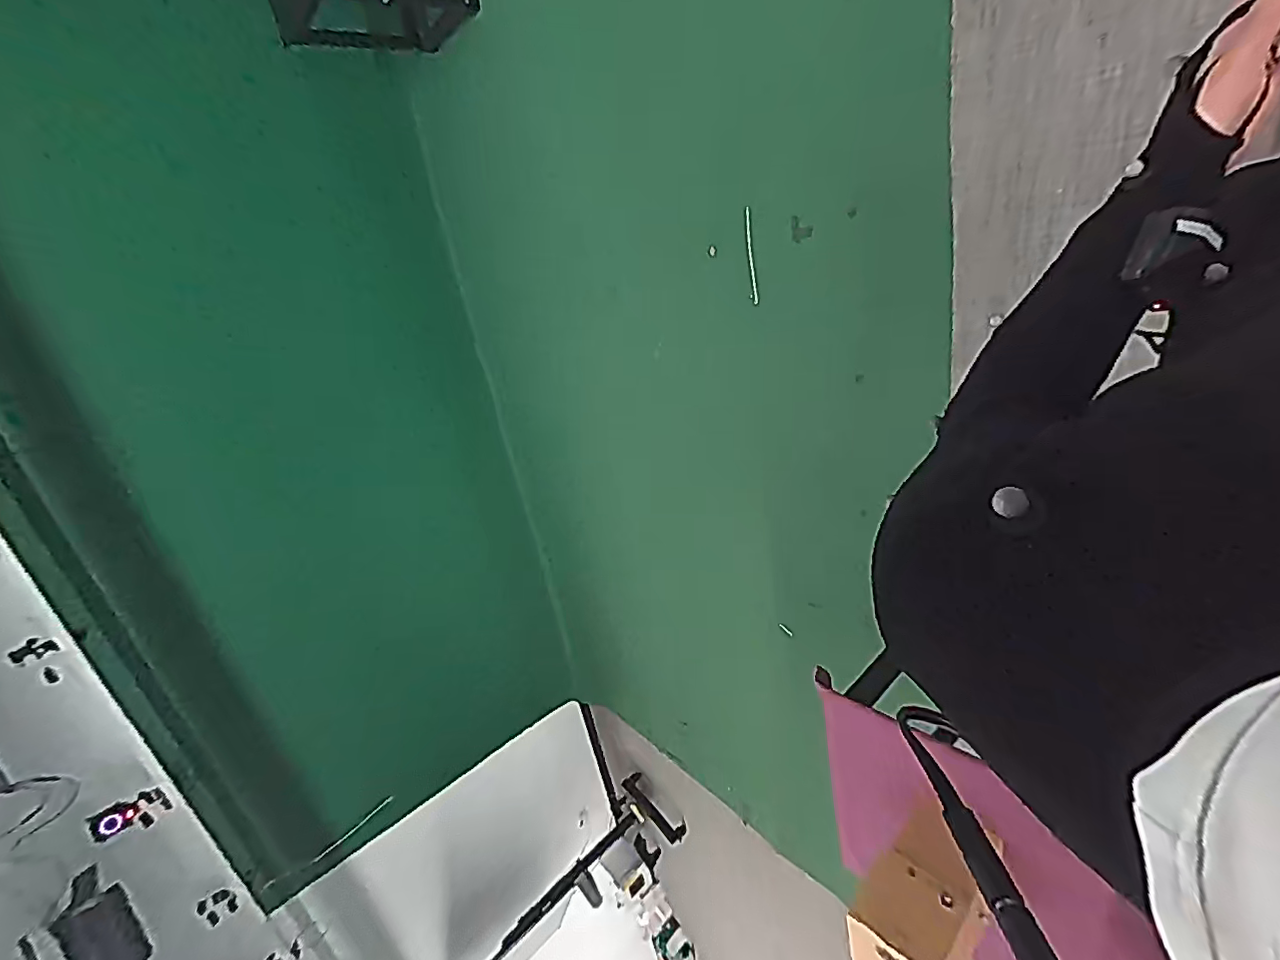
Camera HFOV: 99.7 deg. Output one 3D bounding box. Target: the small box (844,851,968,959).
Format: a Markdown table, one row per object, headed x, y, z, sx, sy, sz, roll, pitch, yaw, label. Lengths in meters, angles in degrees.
| x | y | z | sx | sy | sz | roll | pitch | yaw | label |
| --- | --- | --- | --- | --- | --- | --- | --- | --- | --- |
| 0.518 | 0.882 | 1.053 | 0.168 | 0.176 | 0.179 | 13 | 124 | 48 | small box |

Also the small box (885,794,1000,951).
| x | y | z | sx | sy | sz | roll | pitch | yaw | label |
| --- | --- | --- | --- | --- | --- | --- | --- | --- | --- |
| 0.639 | 0.824 | 1.145 | 0.168 | 0.176 | 0.179 | 14 | 123 | 47 | small box |
